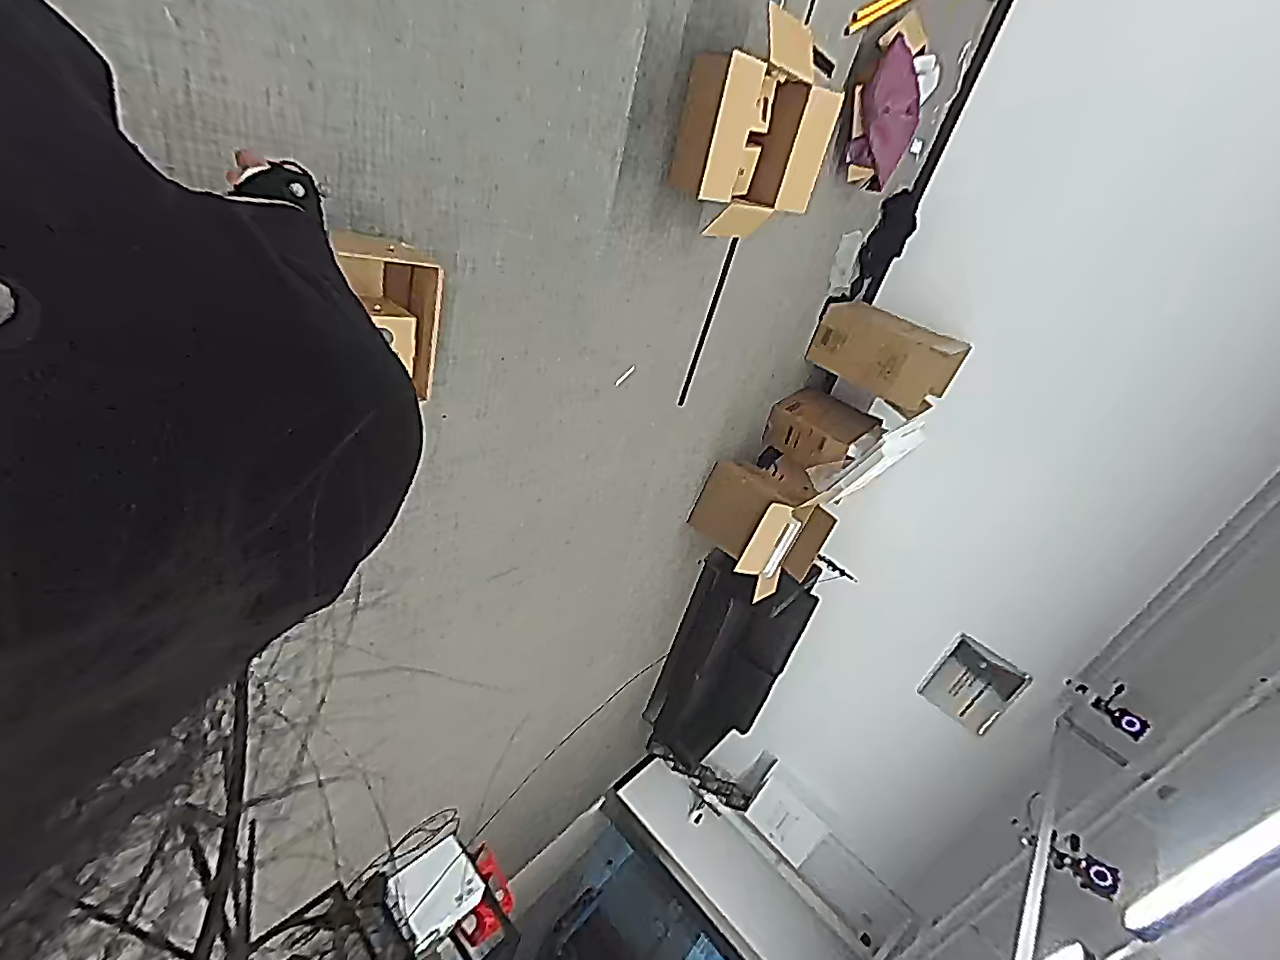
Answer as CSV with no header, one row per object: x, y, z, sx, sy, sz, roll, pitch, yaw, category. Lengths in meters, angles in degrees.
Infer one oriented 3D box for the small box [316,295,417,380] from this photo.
-0.701,-0.366,1.383,0.179,0.176,0.168,-15,130,-46,small box
